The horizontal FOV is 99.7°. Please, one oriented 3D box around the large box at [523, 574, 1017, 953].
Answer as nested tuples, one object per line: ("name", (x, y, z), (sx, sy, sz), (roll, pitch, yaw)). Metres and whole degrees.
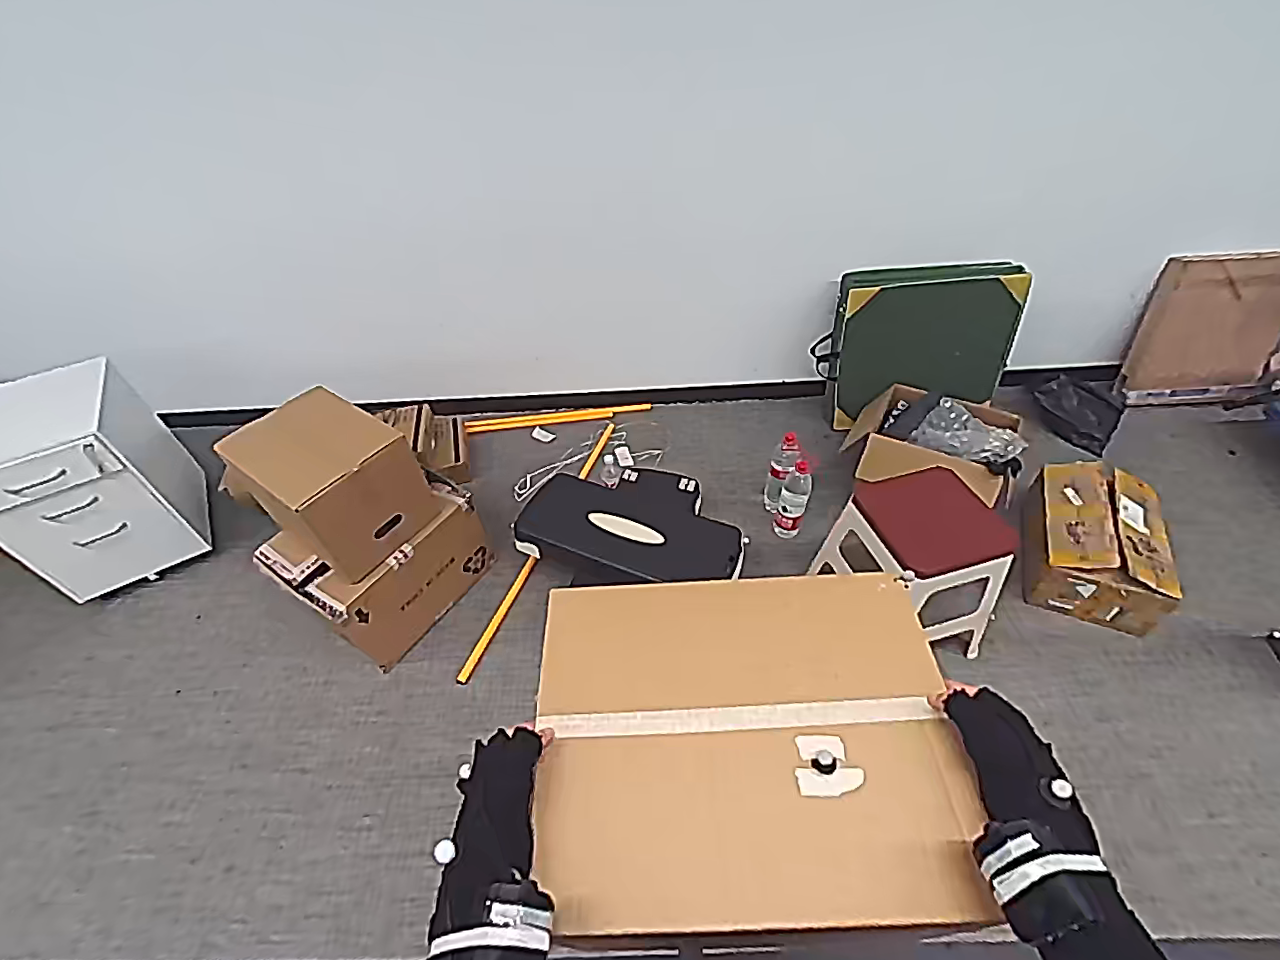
("large box", (0.104, 0.336, 0.637), (0.408, 0.320, 0.320), (-3, 47, 2))
